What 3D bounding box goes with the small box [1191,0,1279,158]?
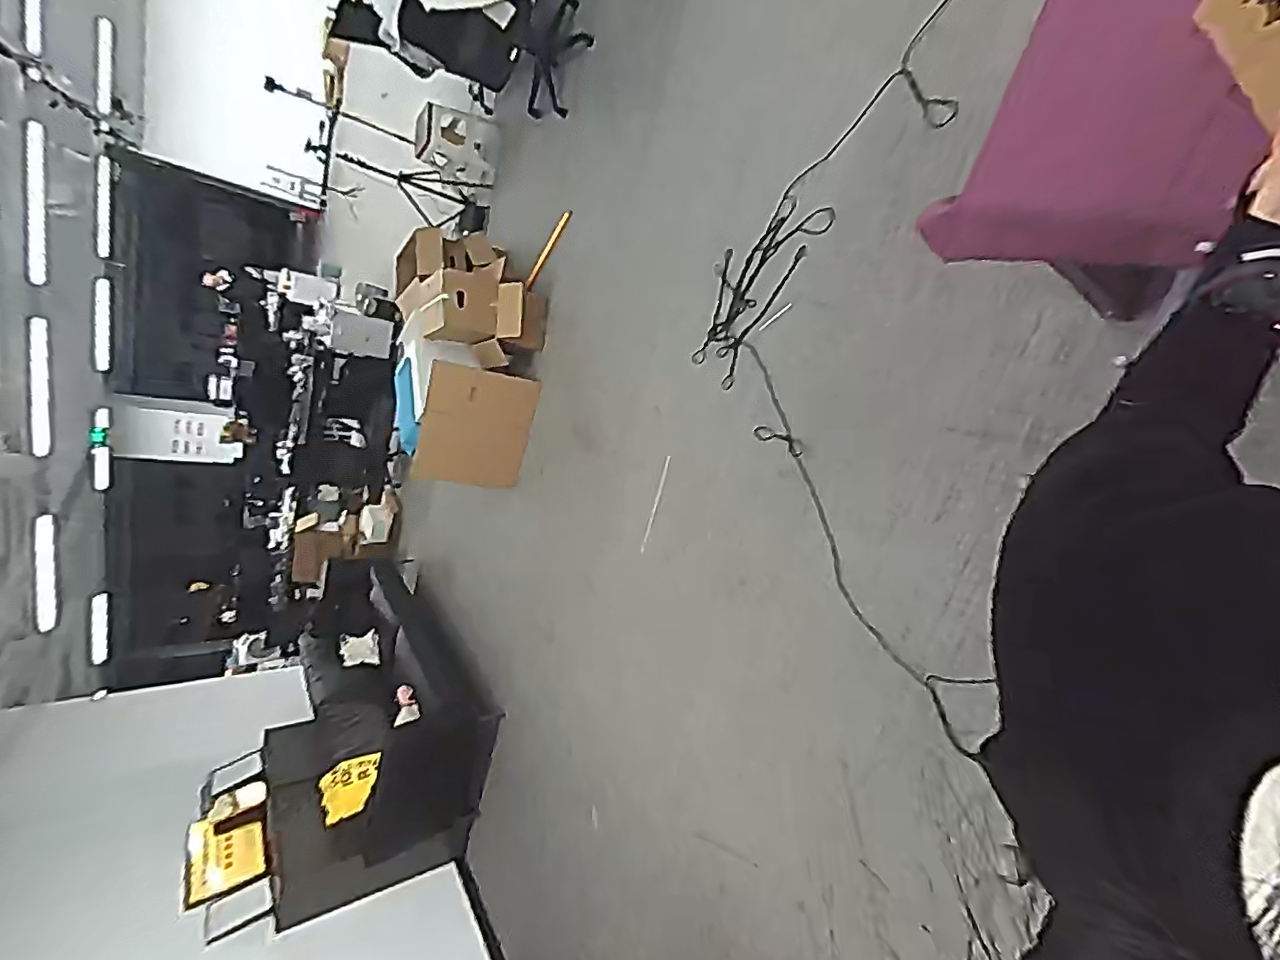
[{"bbox_3d":[0.531,-0.349,0.342,0.176,0.168,0.179,-29,85,28],"label":"small box"}]
